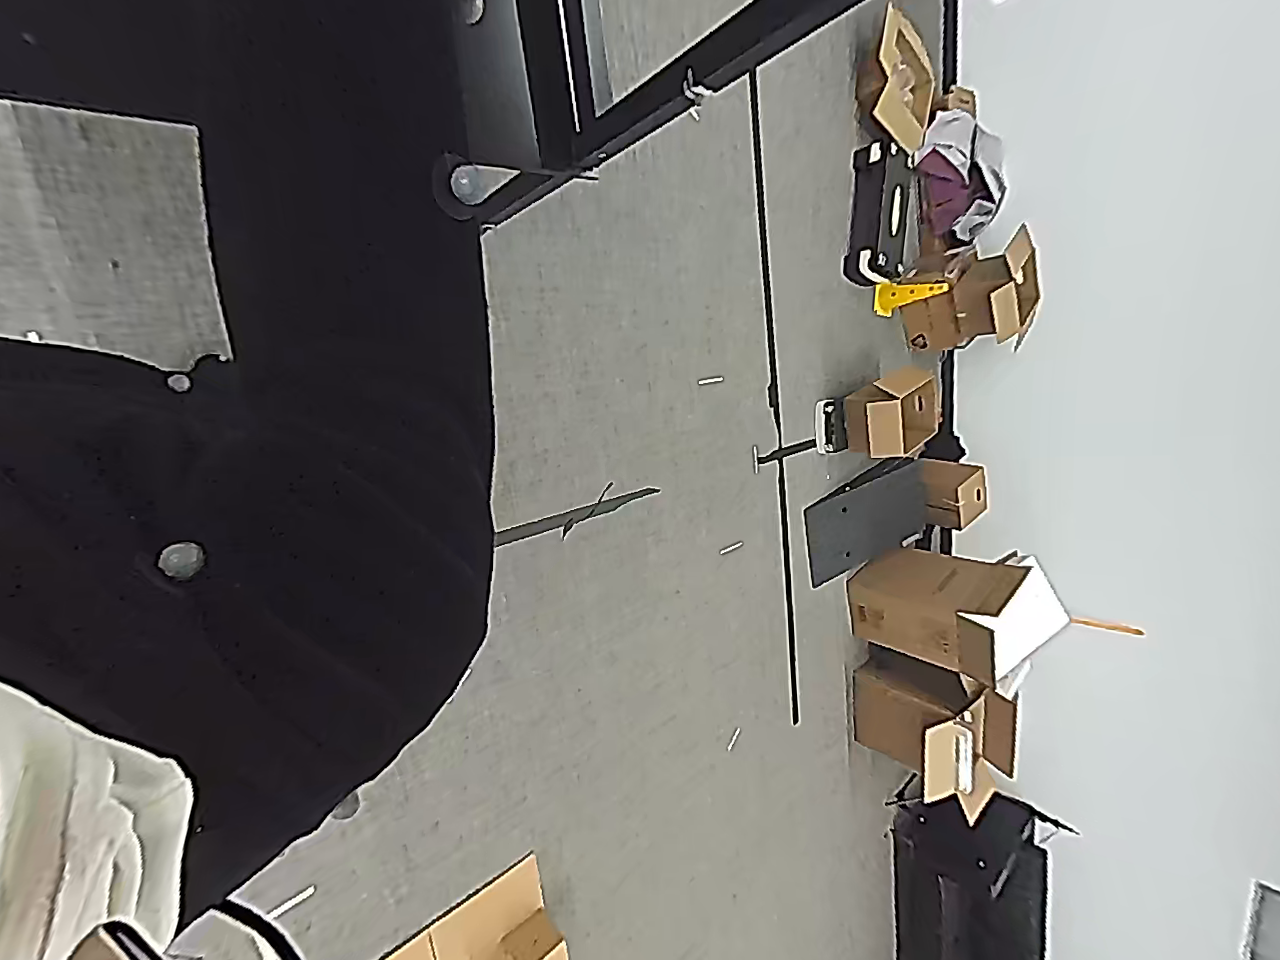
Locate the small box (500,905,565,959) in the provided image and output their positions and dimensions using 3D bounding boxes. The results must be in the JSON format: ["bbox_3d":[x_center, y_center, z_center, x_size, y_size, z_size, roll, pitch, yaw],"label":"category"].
[{"bbox_3d":[-0.396,1.730,1.978,0.179,0.176,0.168,-16,106,-39],"label":"small box"}]
